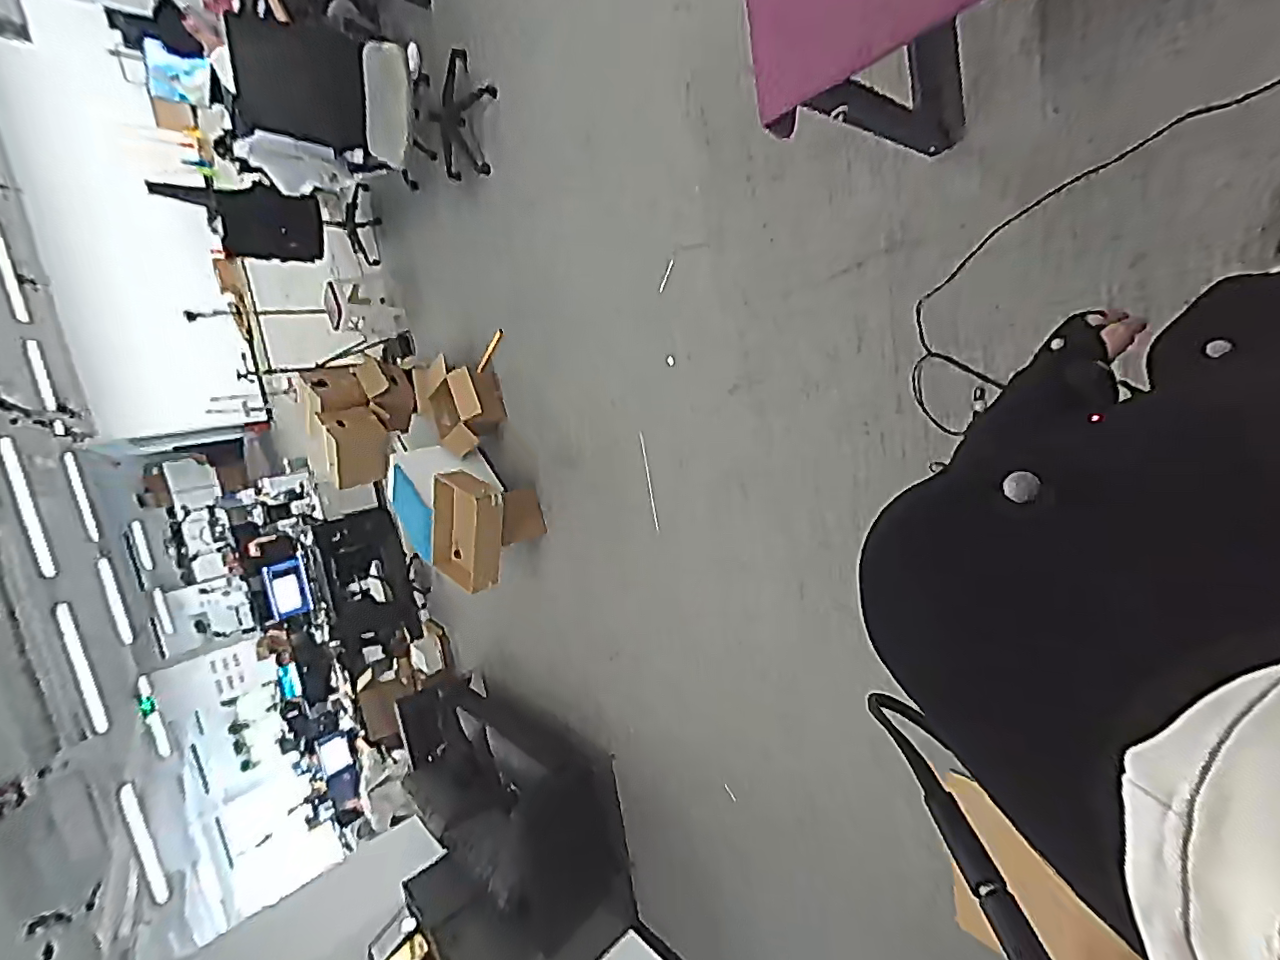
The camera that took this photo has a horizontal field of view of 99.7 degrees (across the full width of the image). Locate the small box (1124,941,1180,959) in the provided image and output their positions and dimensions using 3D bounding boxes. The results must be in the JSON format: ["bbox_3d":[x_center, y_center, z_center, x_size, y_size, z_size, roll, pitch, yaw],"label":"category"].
[{"bbox_3d":[1.329,1.329,1.350,0.168,0.176,0.179,-10,96,51],"label":"small box"}]
